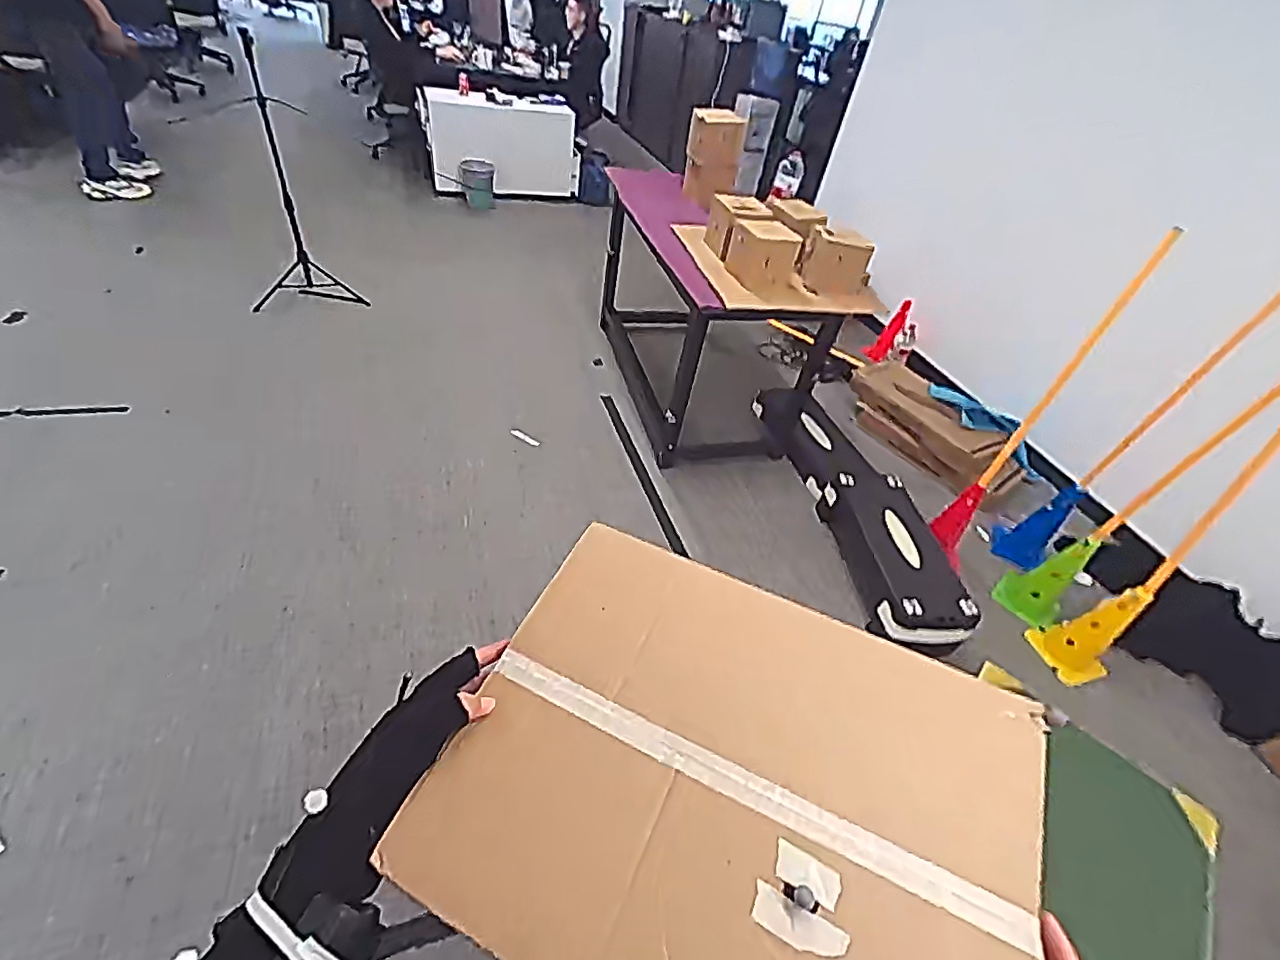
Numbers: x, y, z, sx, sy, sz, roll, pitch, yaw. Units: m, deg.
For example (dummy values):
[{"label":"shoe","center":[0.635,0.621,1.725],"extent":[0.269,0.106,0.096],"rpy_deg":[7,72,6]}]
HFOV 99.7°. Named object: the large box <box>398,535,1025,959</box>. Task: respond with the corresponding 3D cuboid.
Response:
[{"label":"large box","center":[0.070,0.318,0.525],"extent":[0.408,0.320,0.320],"rpy_deg":[21,54,17]}]
